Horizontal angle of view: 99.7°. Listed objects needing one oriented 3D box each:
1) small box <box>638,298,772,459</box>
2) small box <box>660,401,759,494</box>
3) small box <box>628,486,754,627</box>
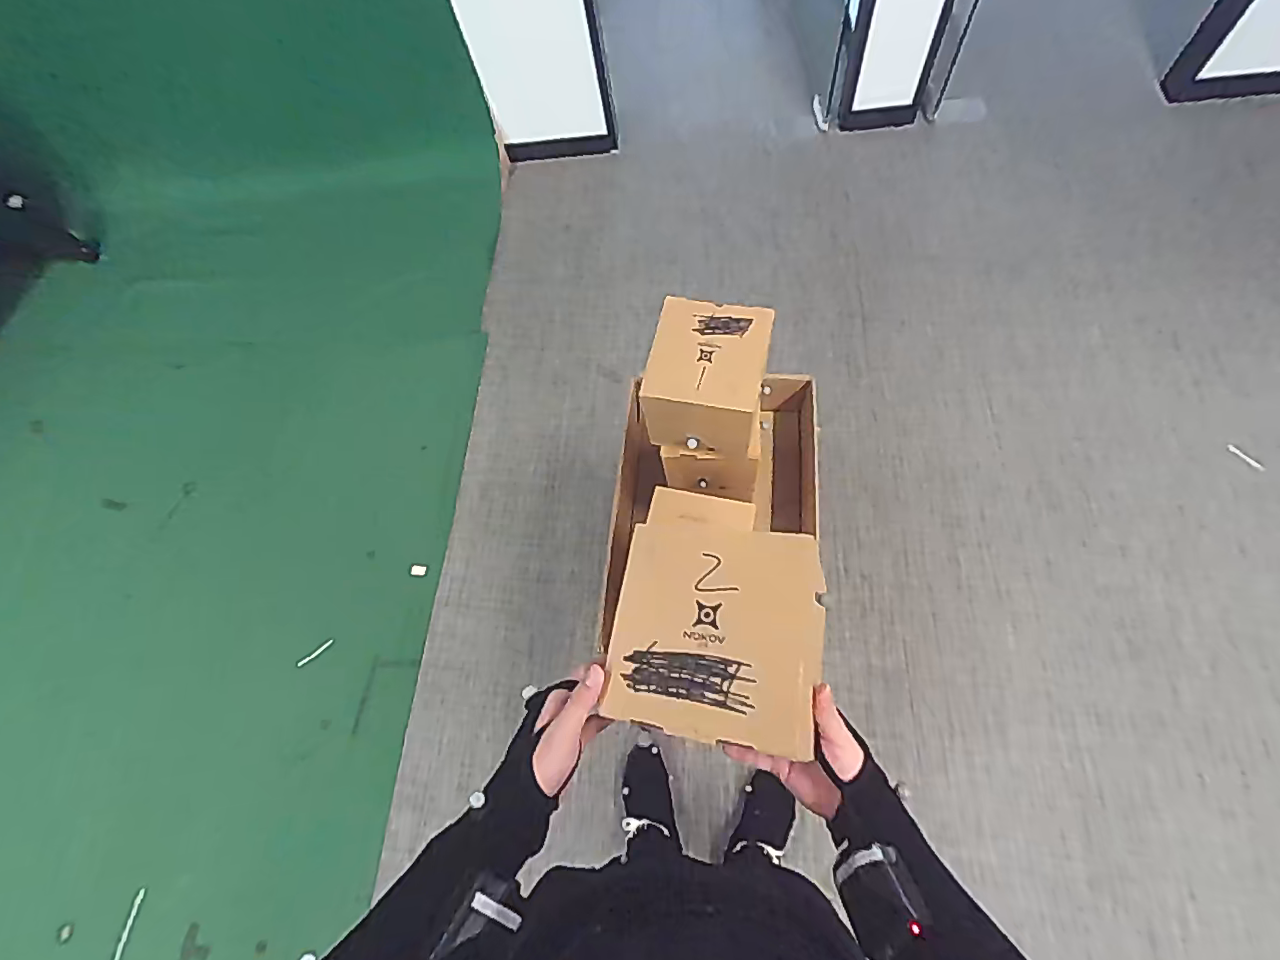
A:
[{"bbox_3d":[0.104,-0.154,0.852,0.168,0.176,0.179,11,71,12],"label":"small box"},{"bbox_3d":[0.130,-0.087,1.000,0.168,0.176,0.179,1,68,8],"label":"small box"},{"bbox_3d":[0.090,0.135,0.903,0.168,0.176,0.179,11,67,12],"label":"small box"}]
